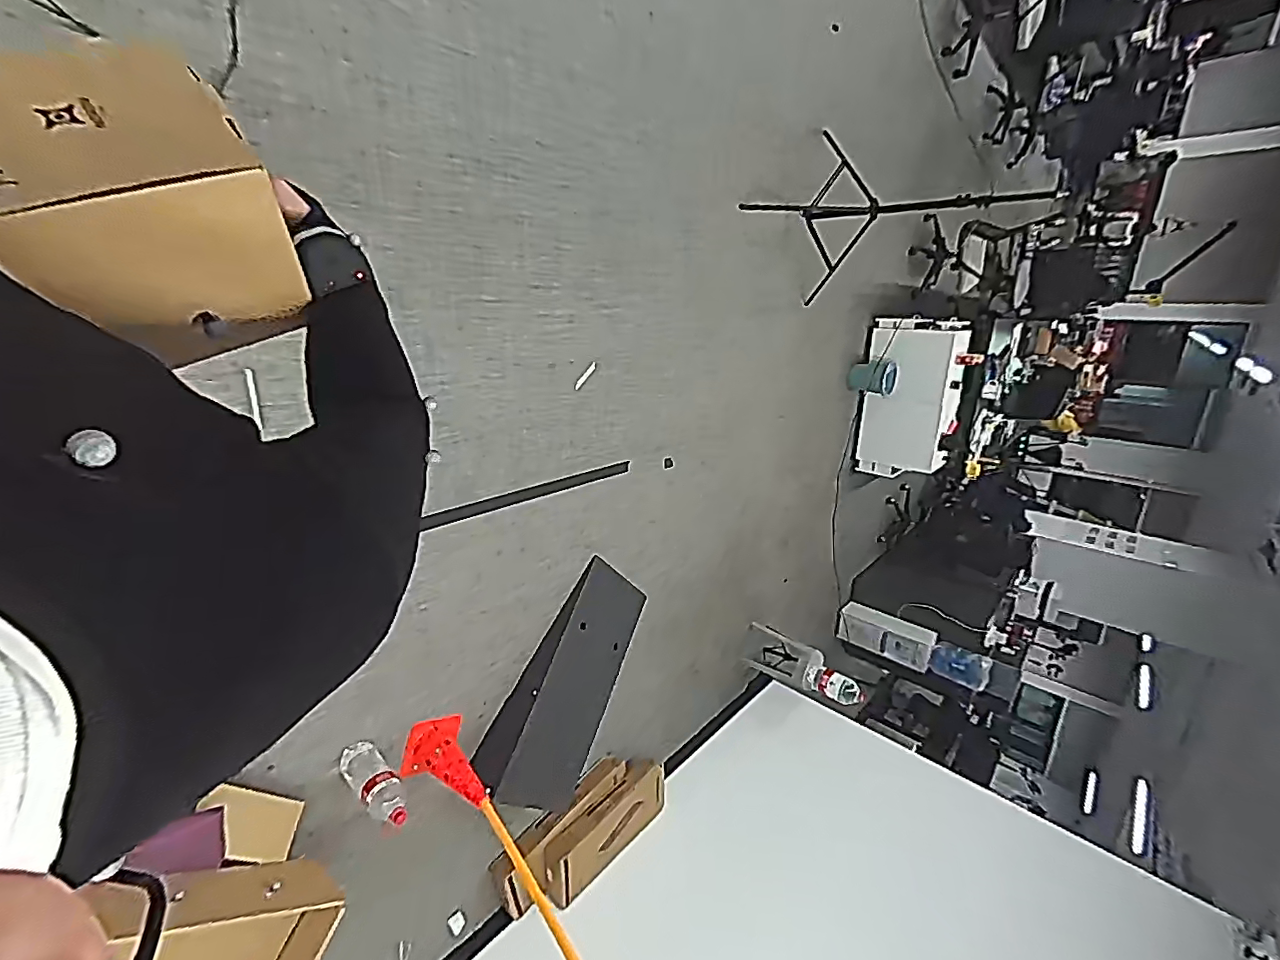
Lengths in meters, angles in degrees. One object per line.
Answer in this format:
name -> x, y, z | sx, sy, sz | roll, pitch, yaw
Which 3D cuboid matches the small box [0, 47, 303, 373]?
small box -> -0.423, -0.226, 0.466 | 0.179, 0.168, 0.176 | -32, 165, -28
